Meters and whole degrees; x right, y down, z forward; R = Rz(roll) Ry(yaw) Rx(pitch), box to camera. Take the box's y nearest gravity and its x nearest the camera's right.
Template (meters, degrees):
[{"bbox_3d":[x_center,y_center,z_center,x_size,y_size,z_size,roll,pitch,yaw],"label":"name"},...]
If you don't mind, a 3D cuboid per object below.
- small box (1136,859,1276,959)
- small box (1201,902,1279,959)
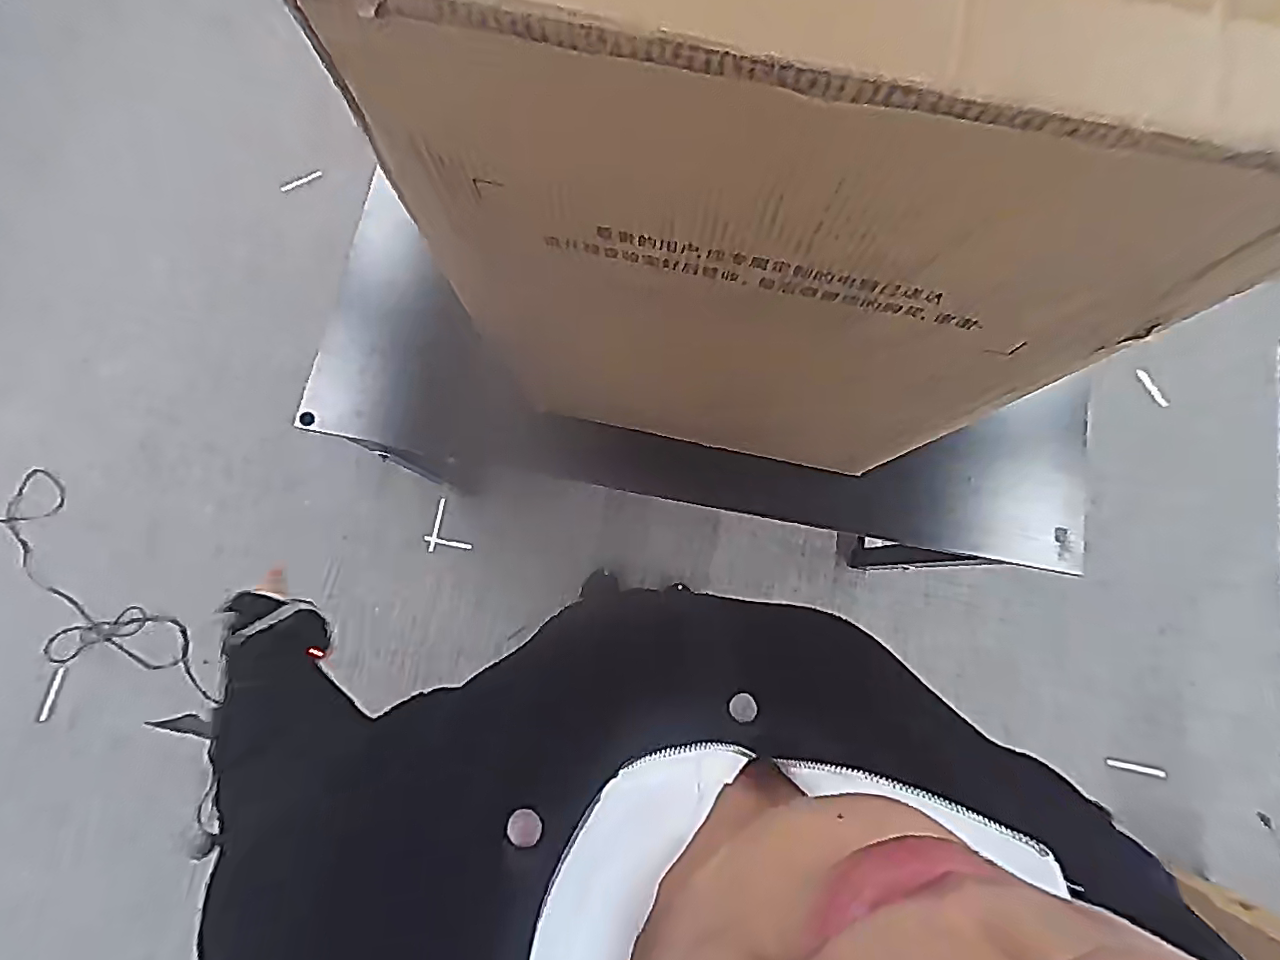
[{"bbox_3d":[1.360,1.067,1.309,0.168,0.176,0.179,15,81,2],"label":"small box"},{"bbox_3d":[1.366,1.046,1.146,0.179,0.176,0.168,15,80,2],"label":"small box"}]
